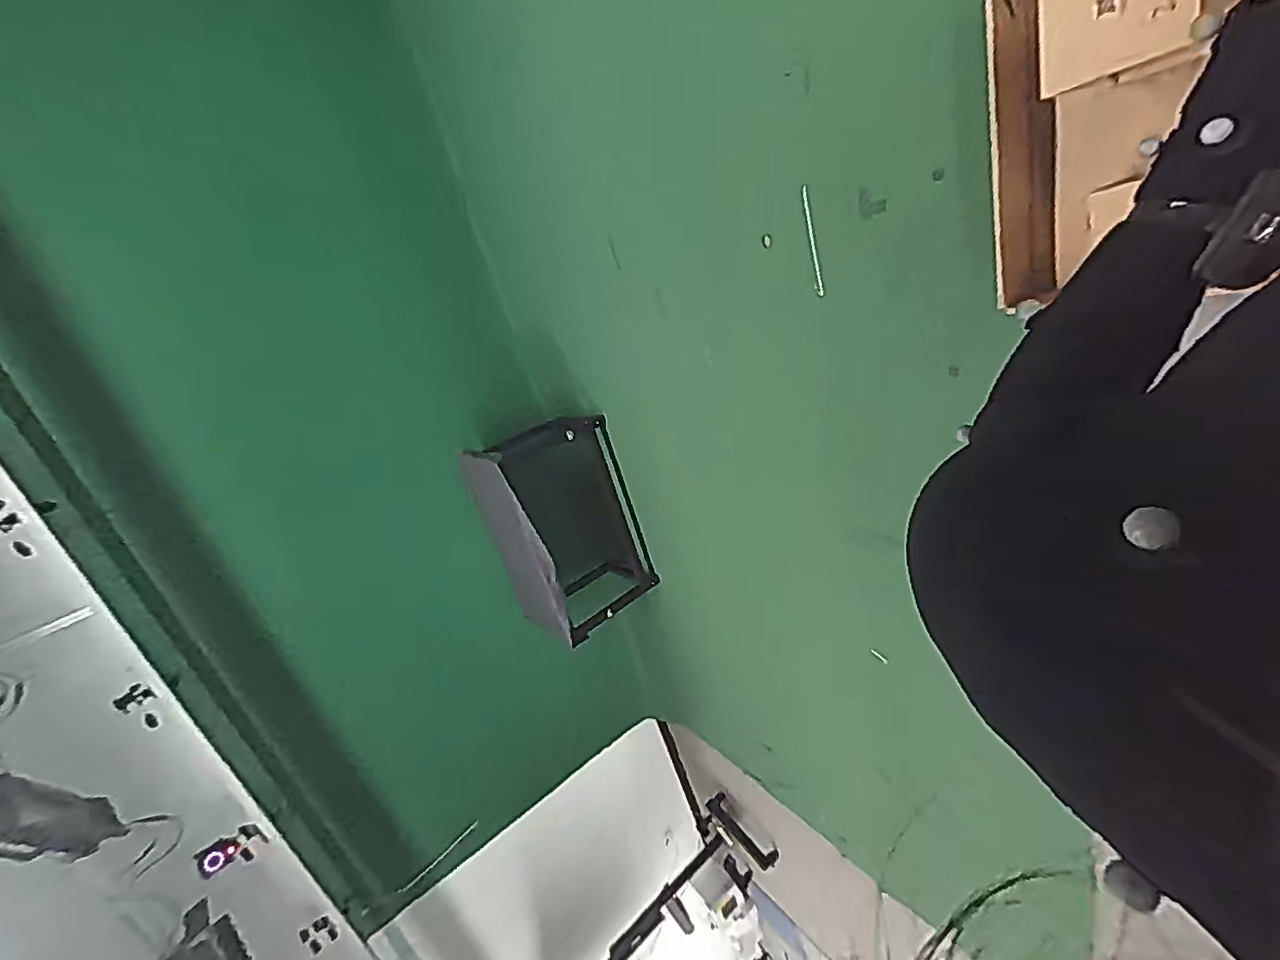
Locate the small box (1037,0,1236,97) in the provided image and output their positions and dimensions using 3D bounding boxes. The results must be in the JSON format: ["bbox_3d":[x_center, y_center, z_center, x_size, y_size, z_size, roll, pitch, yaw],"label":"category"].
[{"bbox_3d":[0.693,-0.670,0.757,0.179,0.176,0.168,13,128,54],"label":"small box"}]
